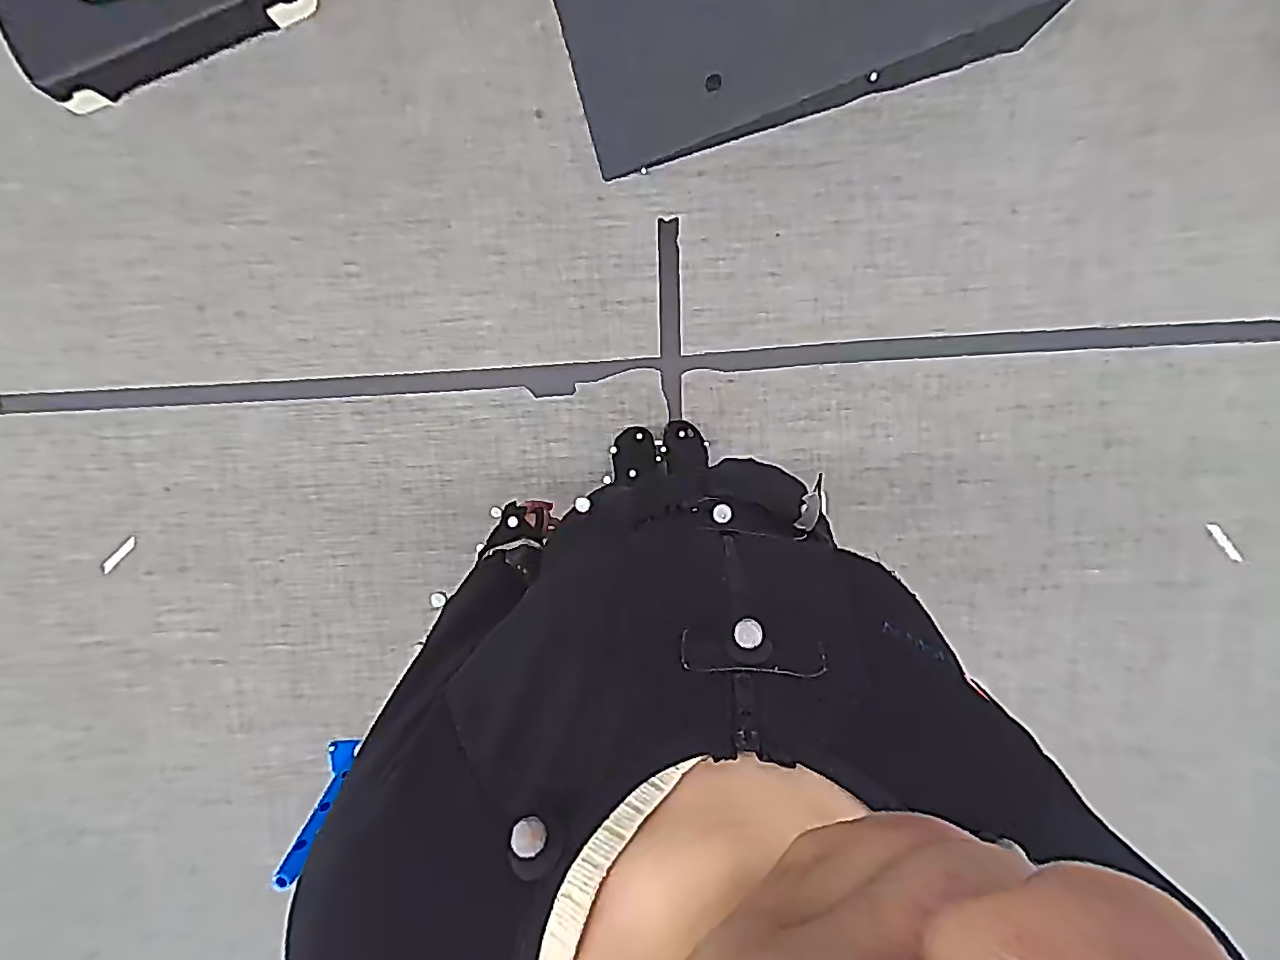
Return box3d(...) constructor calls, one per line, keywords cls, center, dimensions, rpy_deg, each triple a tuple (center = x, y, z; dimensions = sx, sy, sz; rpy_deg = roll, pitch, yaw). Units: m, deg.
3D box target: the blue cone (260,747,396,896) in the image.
box3d(cls="blue cone", center=(-0.792, 0.864, 1.360), dimensions=(0.192, 0.380, 0.193), rpy_deg=(-1, 99, 3))
